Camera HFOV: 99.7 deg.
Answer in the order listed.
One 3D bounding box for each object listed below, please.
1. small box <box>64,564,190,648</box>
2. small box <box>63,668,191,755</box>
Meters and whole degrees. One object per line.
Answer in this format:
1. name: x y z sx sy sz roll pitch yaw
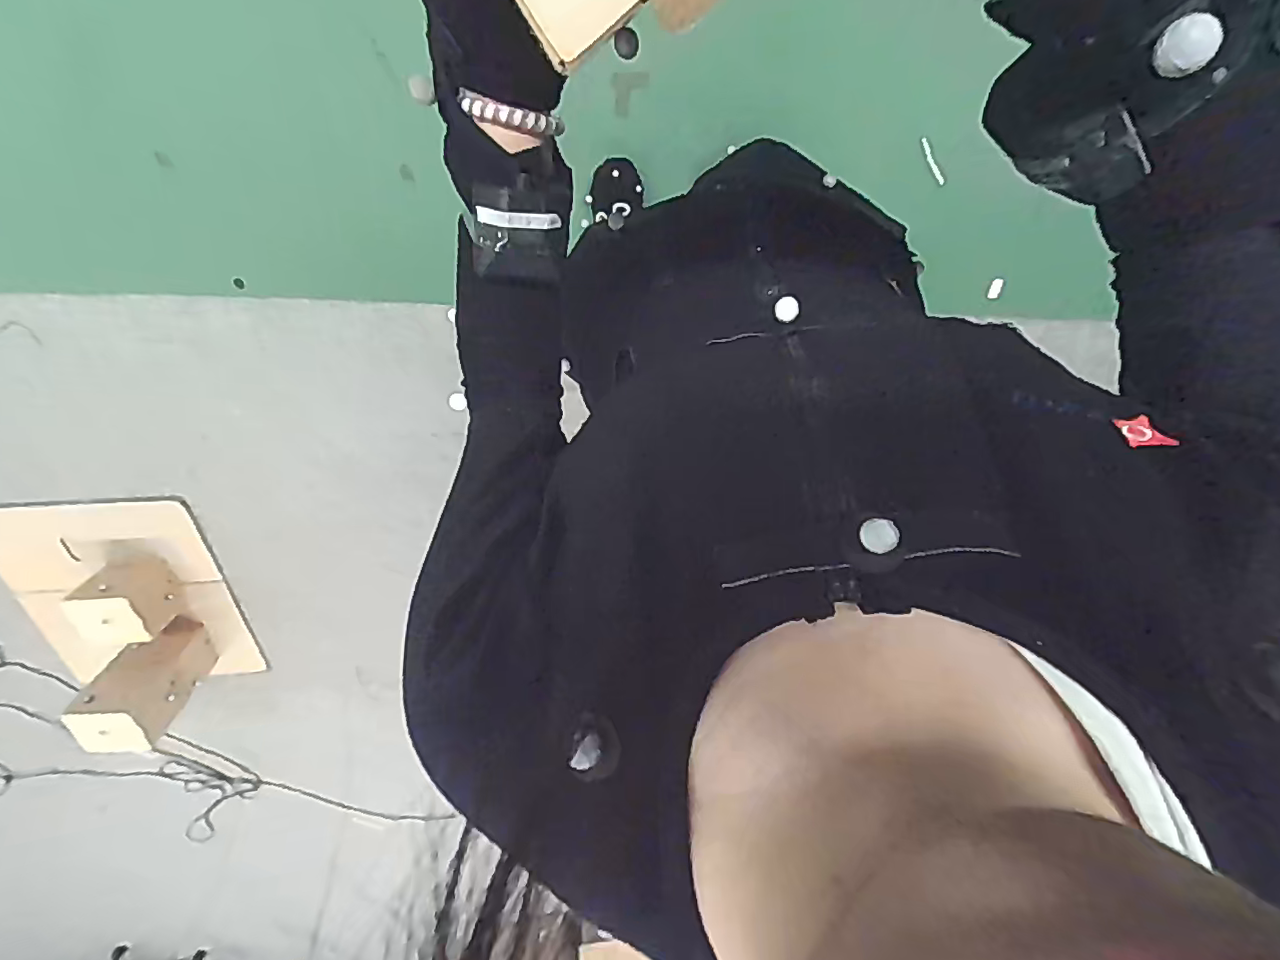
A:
1. small box: -1.478 0.361 1.572 0.179 0.176 0.168 -4 119 -3
2. small box: -1.454 0.657 1.547 0.179 0.176 0.168 0 120 -5
